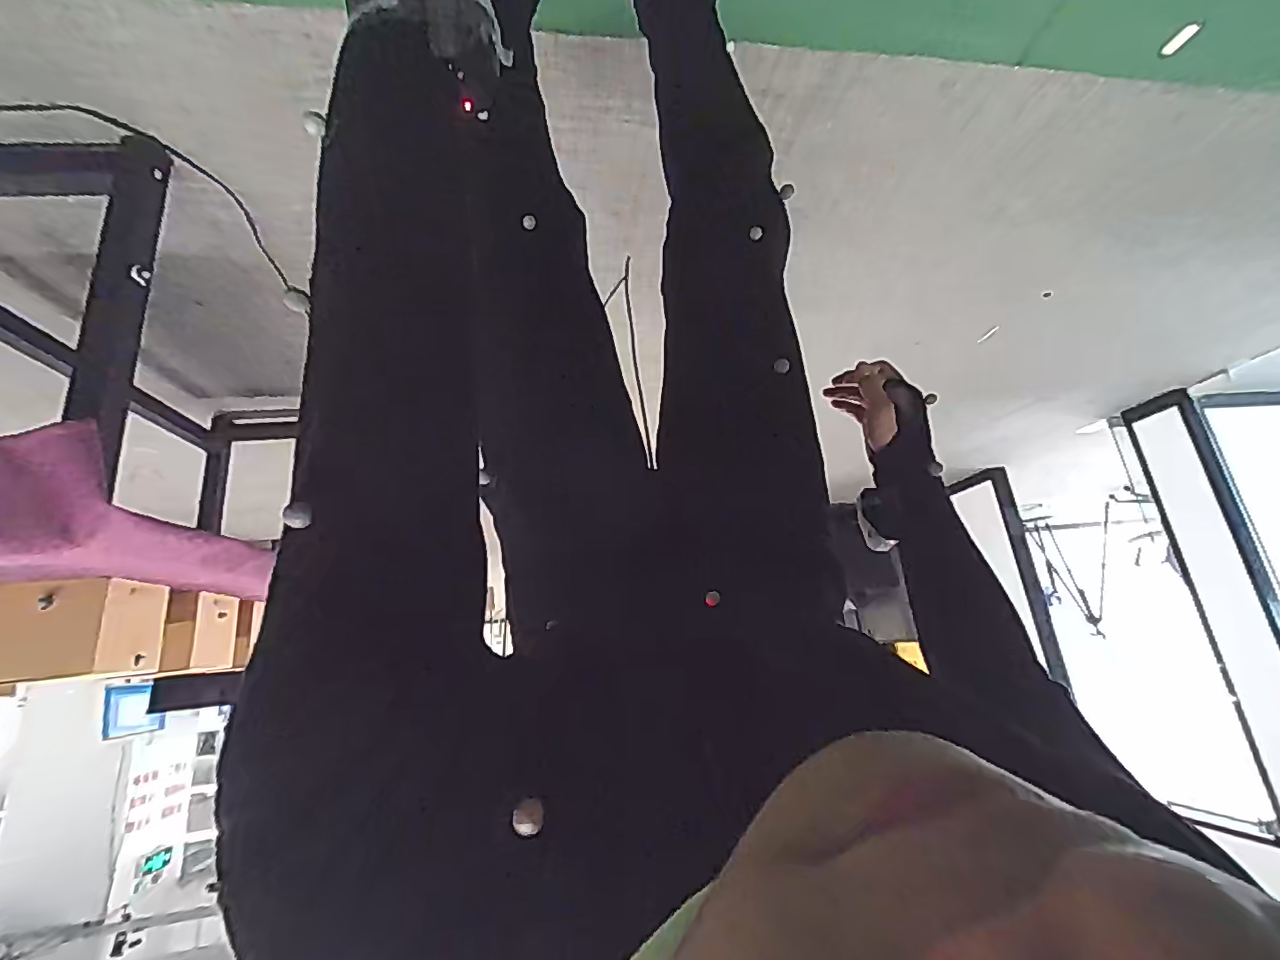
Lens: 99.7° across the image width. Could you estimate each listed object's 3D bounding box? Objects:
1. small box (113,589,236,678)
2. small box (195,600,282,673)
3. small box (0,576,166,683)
[{"bbox_3d":[-1.048,0.344,1.212,0.179,0.176,0.168,-3,163,-11],"label":"small box"},{"bbox_3d":[-1.085,0.416,1.433,0.179,0.176,0.168,-3,163,-9],"label":"small box"},{"bbox_3d":[-1.017,0.271,0.980,0.179,0.176,0.168,-2,164,-10],"label":"small box"}]
